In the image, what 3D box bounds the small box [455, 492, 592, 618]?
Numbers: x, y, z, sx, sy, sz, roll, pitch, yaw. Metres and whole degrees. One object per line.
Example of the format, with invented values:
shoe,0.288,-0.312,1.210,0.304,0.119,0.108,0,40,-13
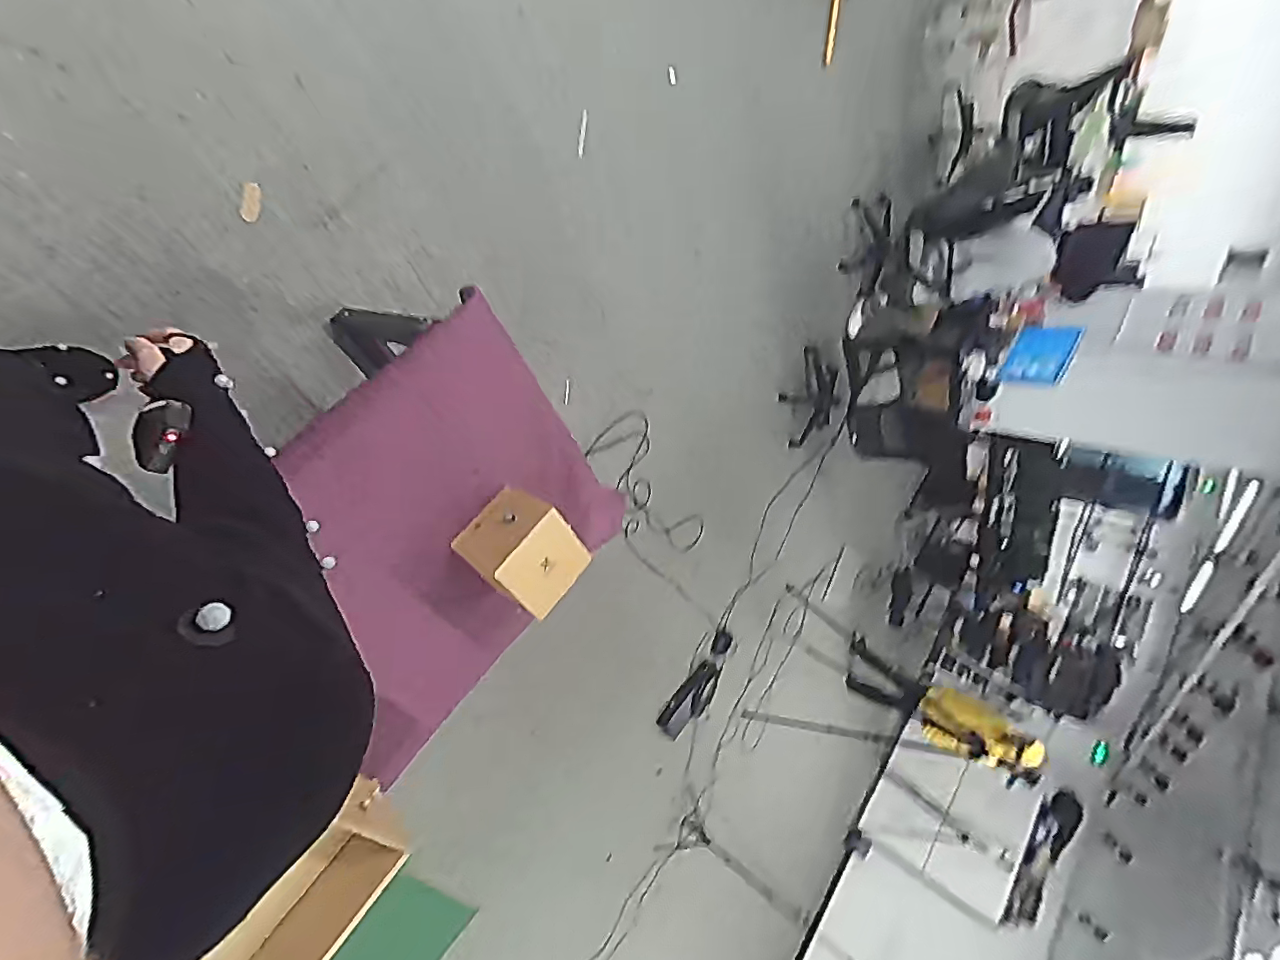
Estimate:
small box,-0.236,0.142,1.091,0.168,0.176,0.179,-51,136,-22
